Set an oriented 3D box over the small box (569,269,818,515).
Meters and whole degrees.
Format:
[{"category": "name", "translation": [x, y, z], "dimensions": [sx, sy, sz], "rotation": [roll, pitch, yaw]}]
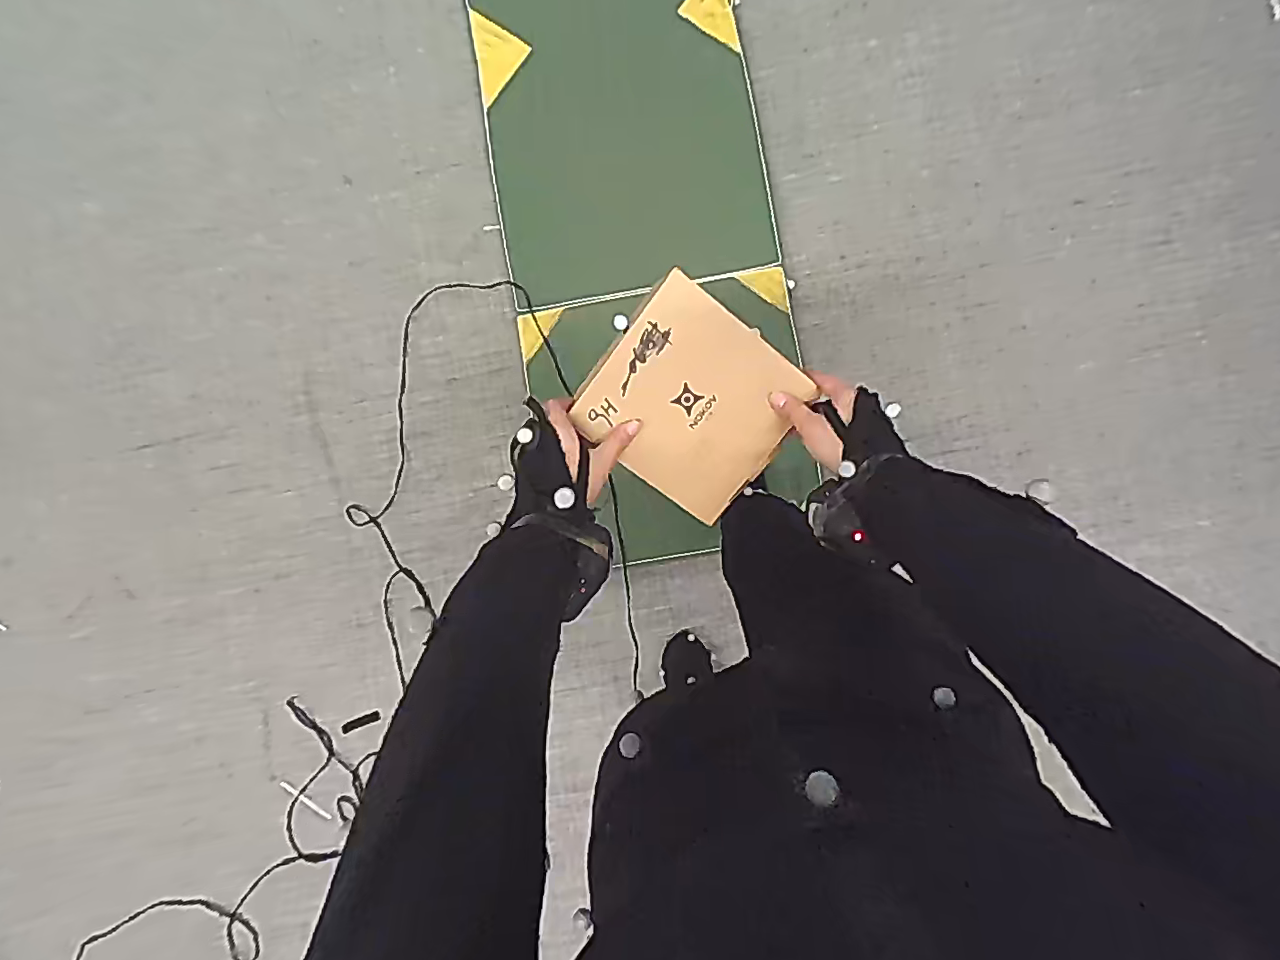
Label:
[{"category": "small box", "translation": [0.046, -0.097, 0.574], "dimensions": [0.179, 0.176, 0.168], "rotation": [36, 101, -12]}]
